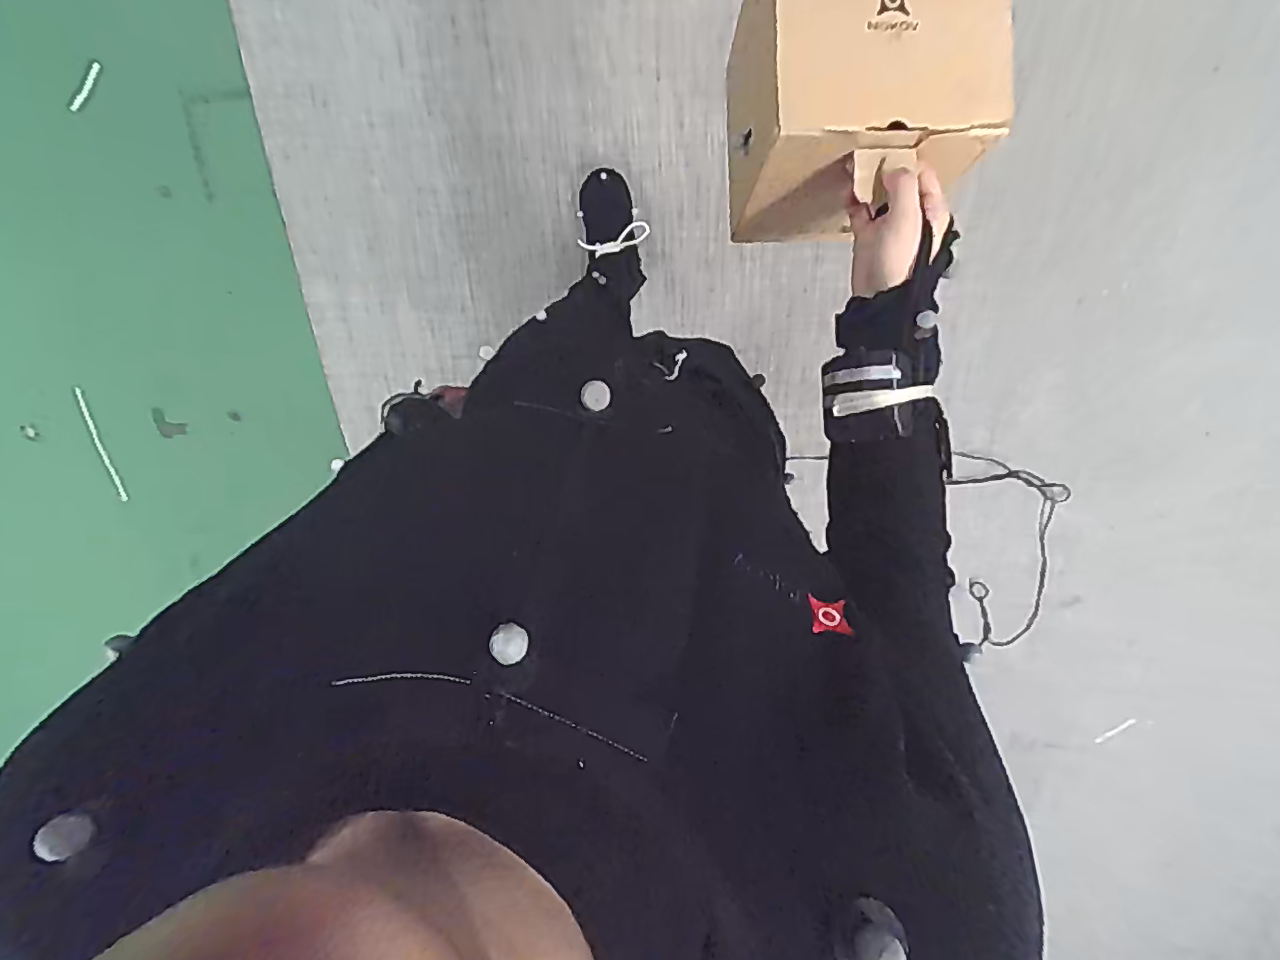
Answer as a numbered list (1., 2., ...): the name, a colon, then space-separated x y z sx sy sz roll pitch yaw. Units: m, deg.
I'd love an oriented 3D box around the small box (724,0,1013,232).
1. small box: 0.166 -0.323 0.443 0.168 0.176 0.179 -1 89 -3
